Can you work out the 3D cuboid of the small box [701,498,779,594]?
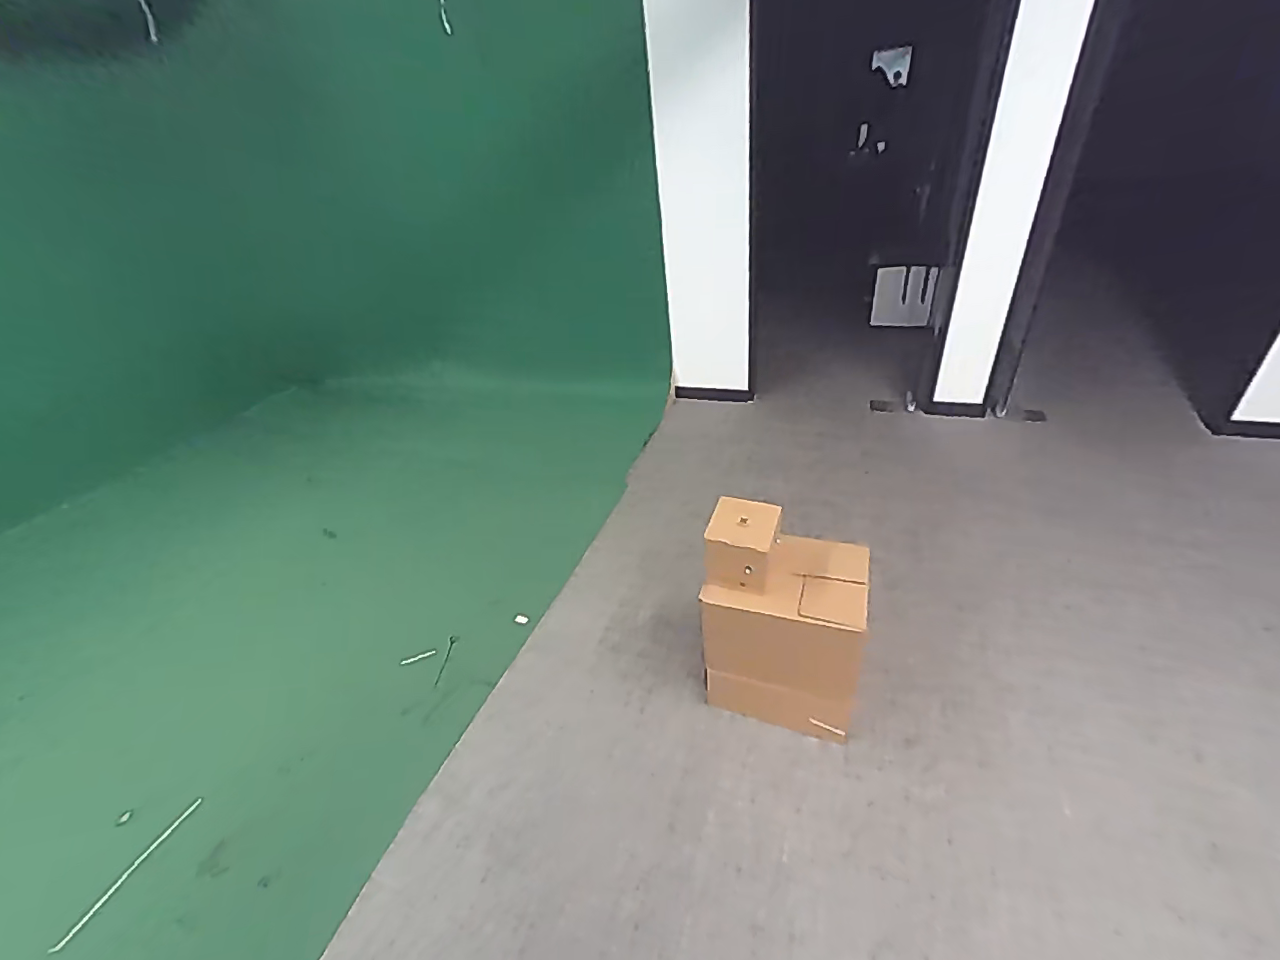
[{"bbox_3d":[0.269,0.176,1.435,0.168,0.176,0.179,10,39,20],"label":"small box"}]
